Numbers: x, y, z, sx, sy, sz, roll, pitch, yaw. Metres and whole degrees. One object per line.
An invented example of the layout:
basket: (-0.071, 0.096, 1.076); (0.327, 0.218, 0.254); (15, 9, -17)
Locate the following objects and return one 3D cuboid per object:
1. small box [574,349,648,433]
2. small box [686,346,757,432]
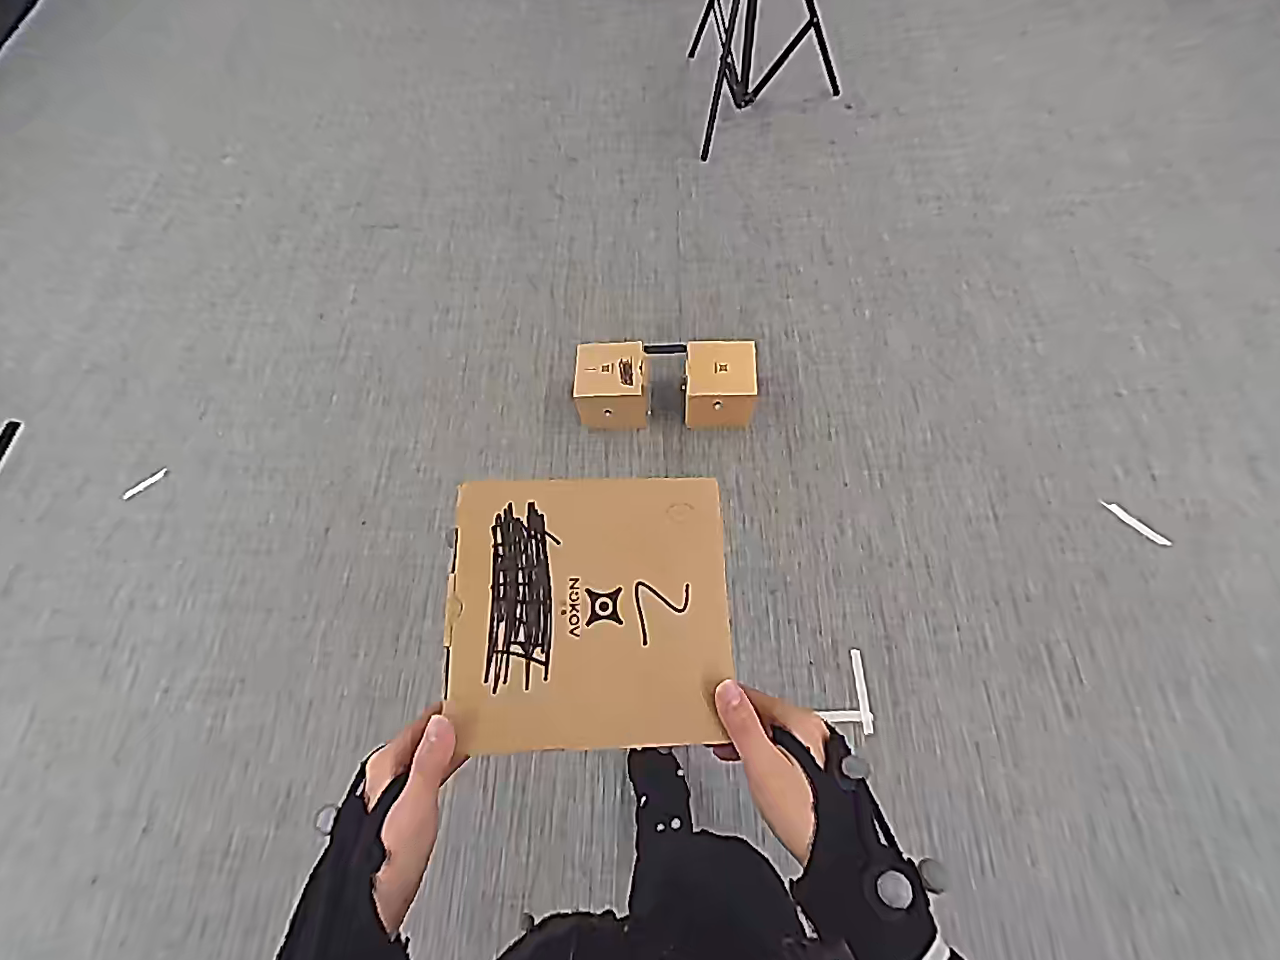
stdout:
small box: (-0.071, -0.237, 1.467); (0.179, 0.176, 0.168); (-1, 66, 6)
small box: (0.212, -0.239, 1.446); (0.179, 0.176, 0.168); (0, 67, 6)
